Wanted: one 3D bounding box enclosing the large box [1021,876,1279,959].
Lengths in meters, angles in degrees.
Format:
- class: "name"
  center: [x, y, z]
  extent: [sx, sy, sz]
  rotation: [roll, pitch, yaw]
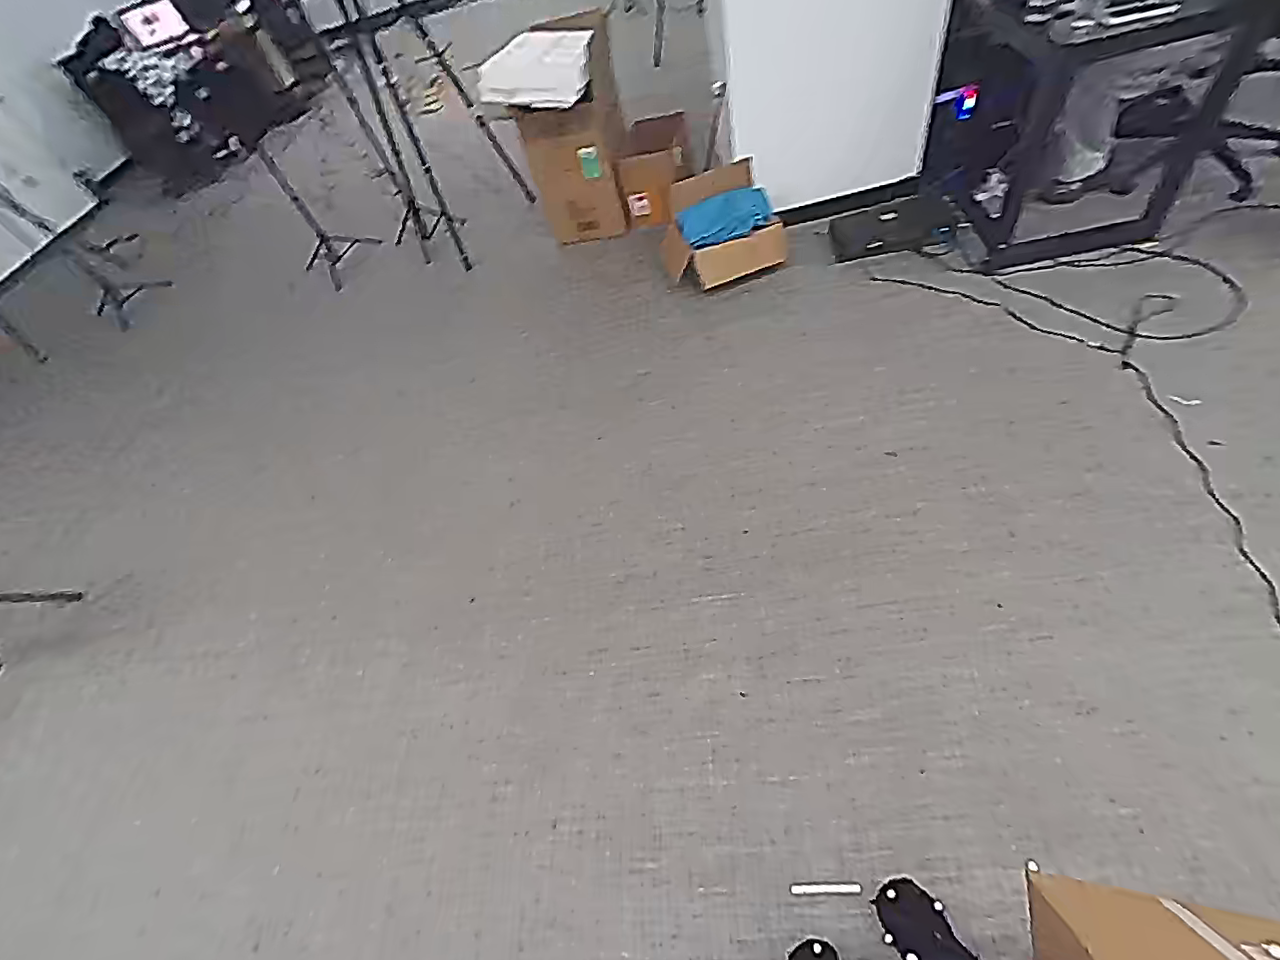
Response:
- class: "large box"
  center: [0.637, 0.680, 0.533]
  extent: [0.320, 0.408, 0.320]
  rotation: [2, 76, 18]
